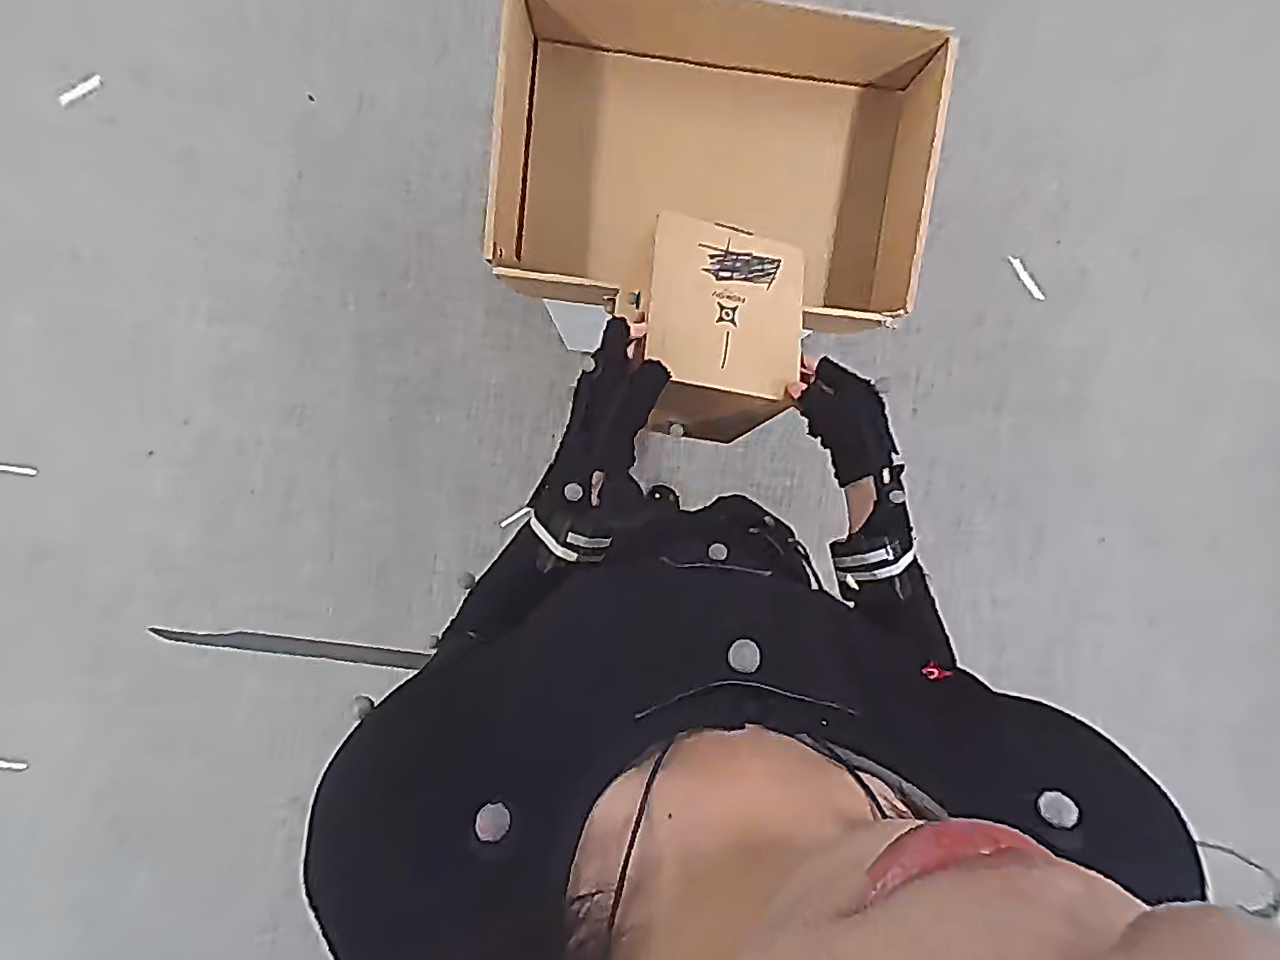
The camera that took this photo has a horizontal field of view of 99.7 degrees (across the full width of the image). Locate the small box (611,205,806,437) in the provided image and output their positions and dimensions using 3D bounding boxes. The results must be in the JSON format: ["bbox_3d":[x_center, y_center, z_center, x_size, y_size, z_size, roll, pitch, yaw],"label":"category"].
[{"bbox_3d":[0.068,-0.163,0.610,0.168,0.176,0.179,8,78,-14],"label":"small box"}]
